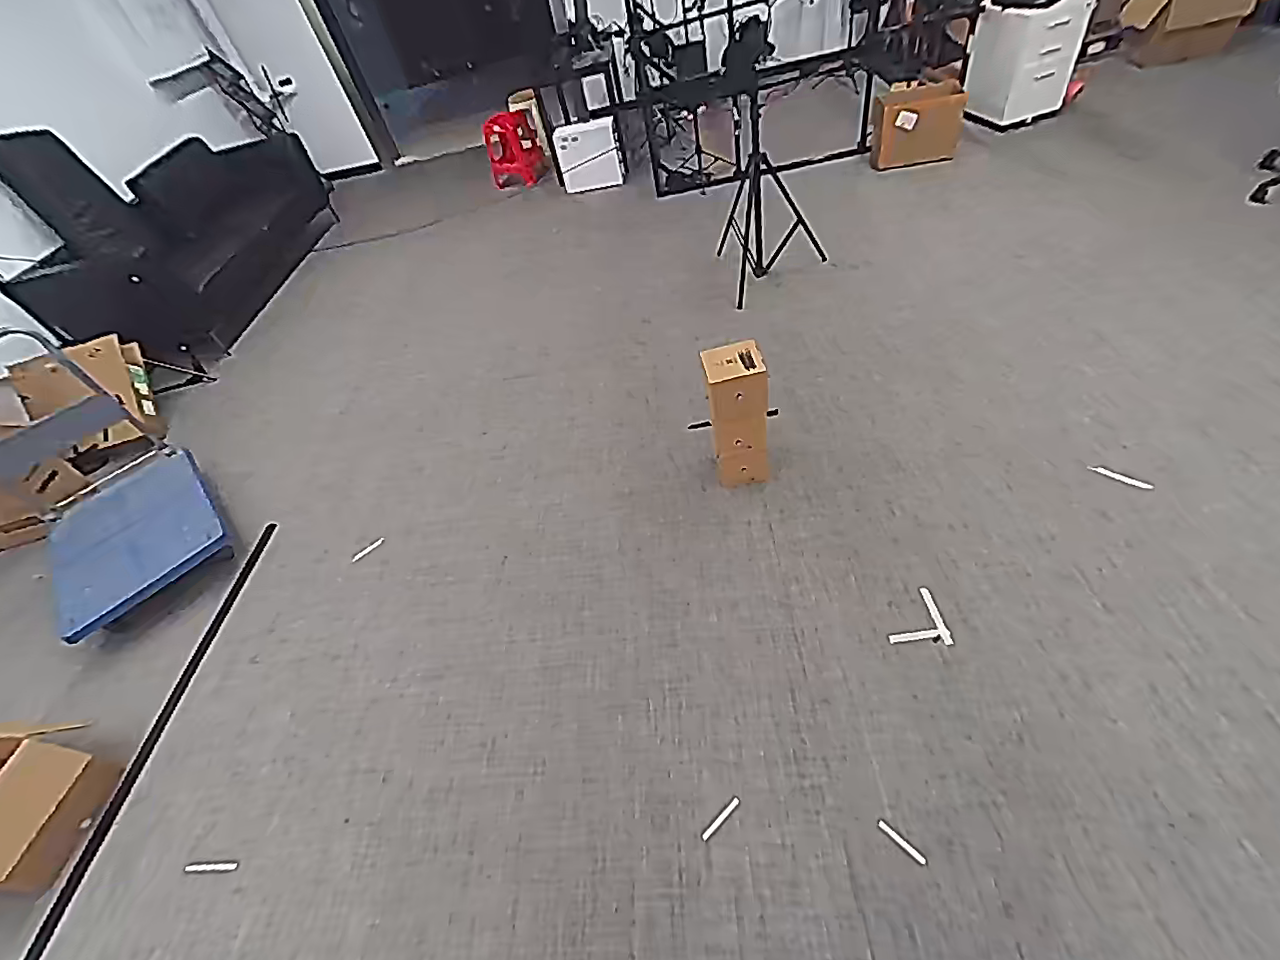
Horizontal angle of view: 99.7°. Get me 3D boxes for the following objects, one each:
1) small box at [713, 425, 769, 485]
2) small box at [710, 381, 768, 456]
[{"bbox_3d":[0.366,-0.099,1.949,0.168,0.176,0.179,-11,46,5],"label":"small box"},{"bbox_3d":[0.334,-0.207,1.831,0.168,0.176,0.179,-10,48,6],"label":"small box"}]
